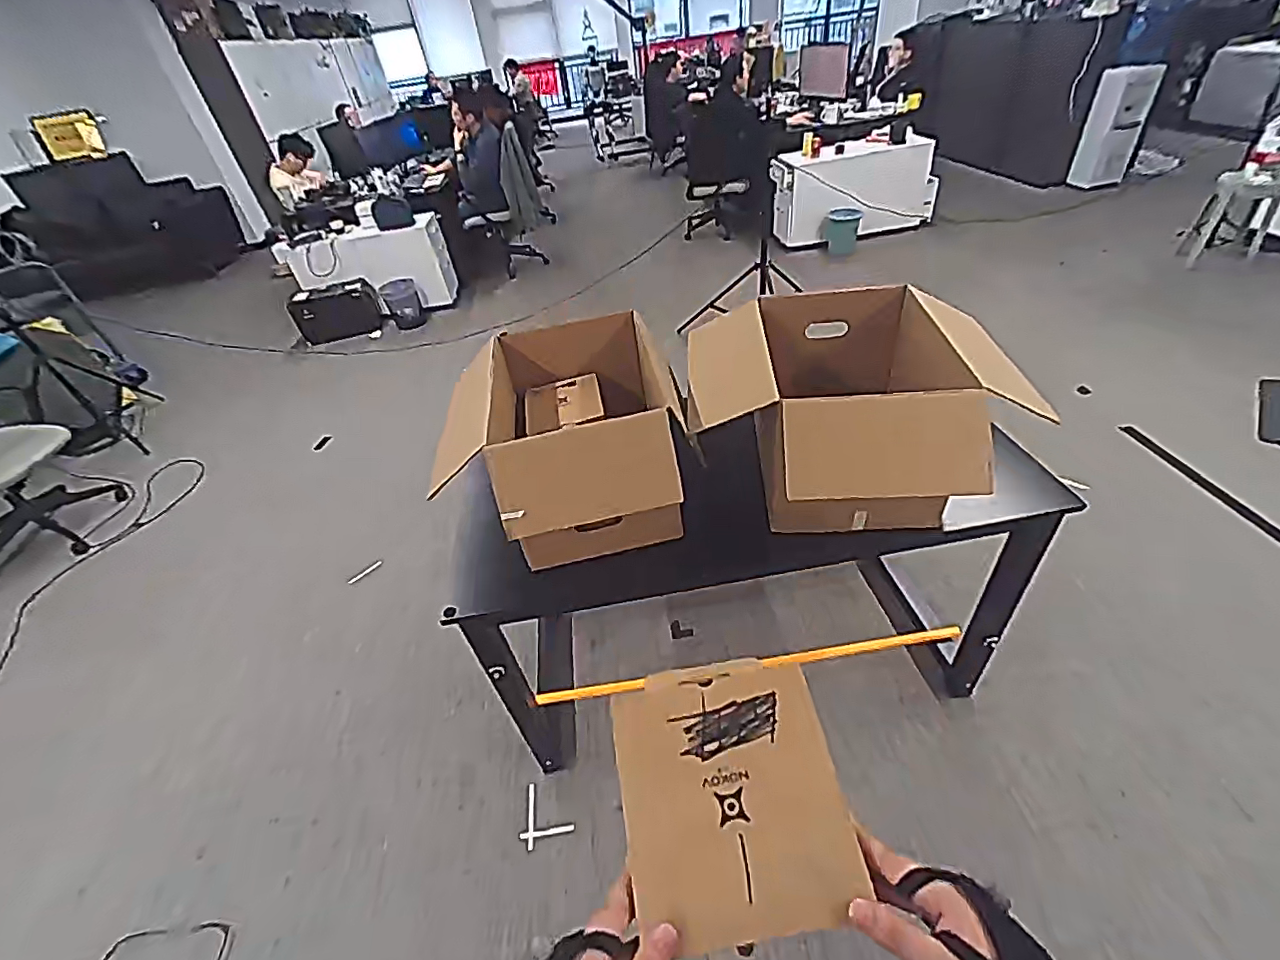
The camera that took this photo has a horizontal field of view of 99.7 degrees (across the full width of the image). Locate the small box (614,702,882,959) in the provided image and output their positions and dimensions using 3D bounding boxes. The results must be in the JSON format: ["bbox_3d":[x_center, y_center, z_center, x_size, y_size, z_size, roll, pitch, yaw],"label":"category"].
[{"bbox_3d":[0.073,0.313,0.465,0.168,0.176,0.179,-9,55,-2],"label":"small box"}]
